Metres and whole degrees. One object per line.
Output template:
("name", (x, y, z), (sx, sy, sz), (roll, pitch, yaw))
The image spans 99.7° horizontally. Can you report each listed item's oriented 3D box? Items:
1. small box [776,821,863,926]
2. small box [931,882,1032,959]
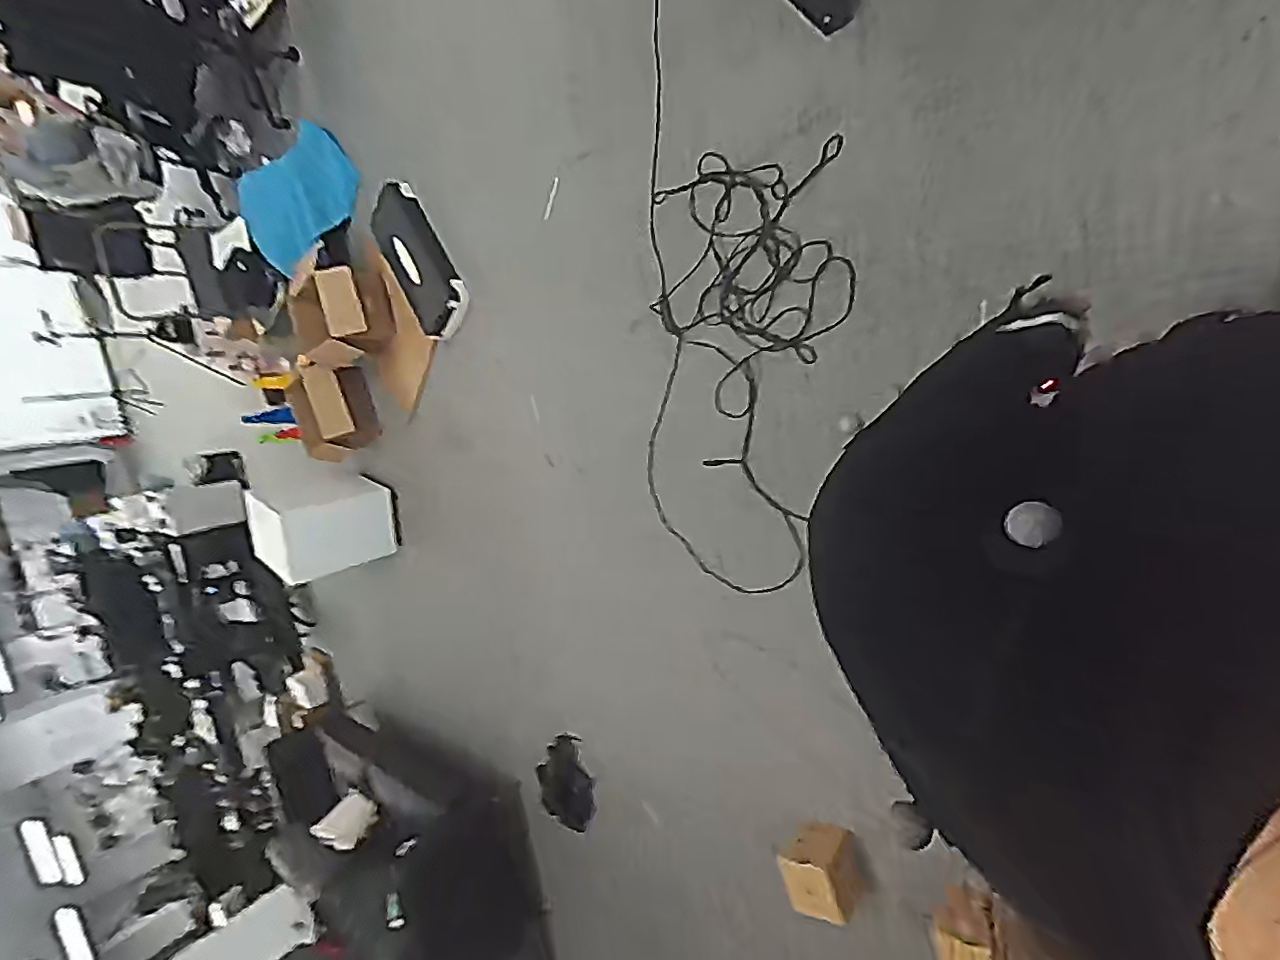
("small box", (0.542, 1.171, 1.626), (0.168, 0.176, 0.179), (-20, 90, 44))
("small box", (0.856, 1.166, 1.347), (0.168, 0.176, 0.179), (-16, 91, 43))
